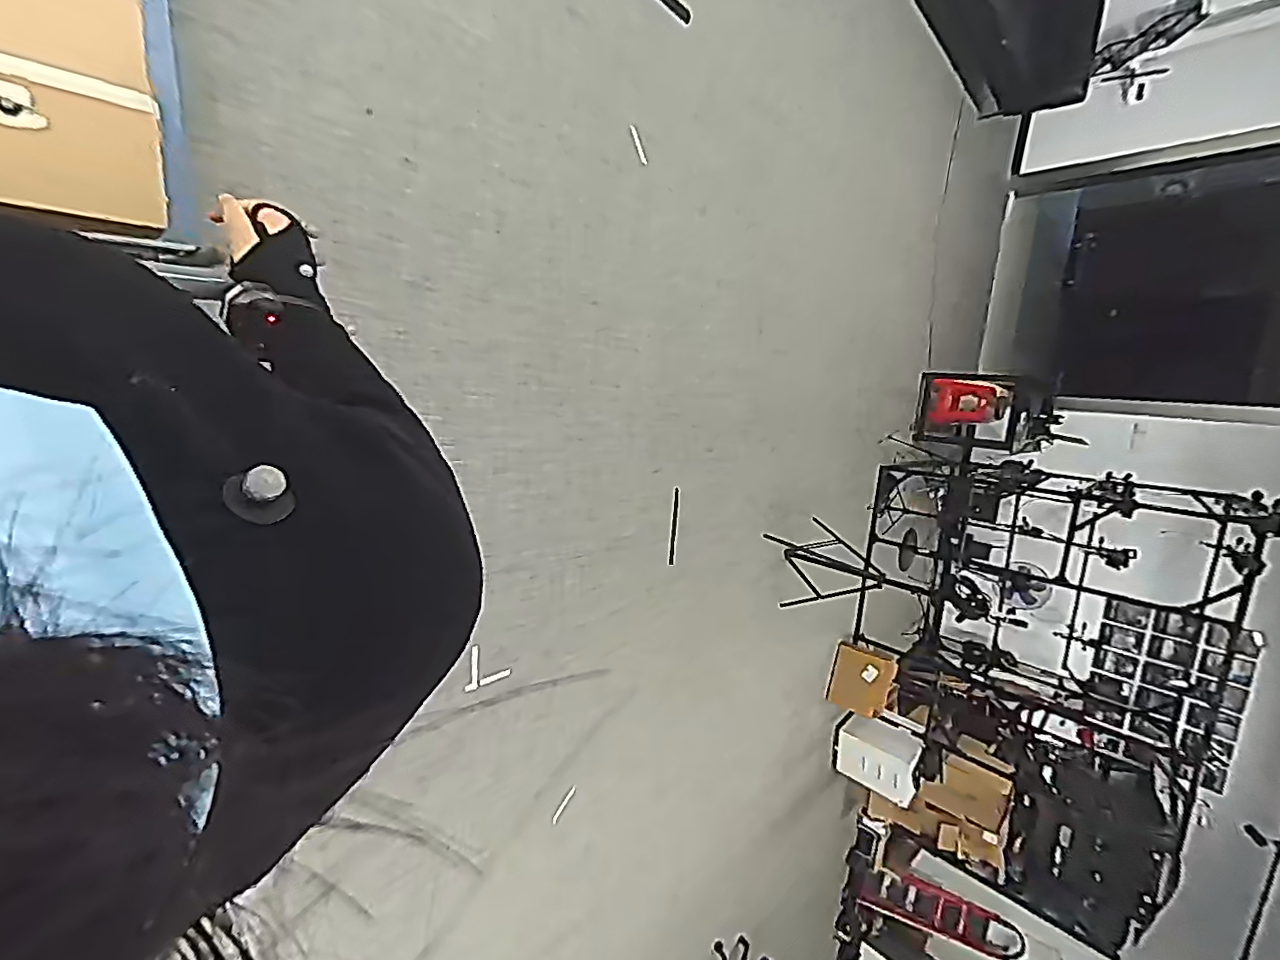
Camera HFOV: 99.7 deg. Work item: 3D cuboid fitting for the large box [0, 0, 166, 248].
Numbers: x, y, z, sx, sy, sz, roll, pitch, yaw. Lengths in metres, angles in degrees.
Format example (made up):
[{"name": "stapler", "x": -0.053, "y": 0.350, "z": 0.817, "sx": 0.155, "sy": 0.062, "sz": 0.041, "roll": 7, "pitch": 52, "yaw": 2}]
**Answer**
[{"name": "large box", "x": -0.912, "y": -0.511, "z": 0.692, "sx": 0.408, "sy": 0.320, "sz": 0.320, "roll": -10, "pitch": 108, "yaw": -47}]
